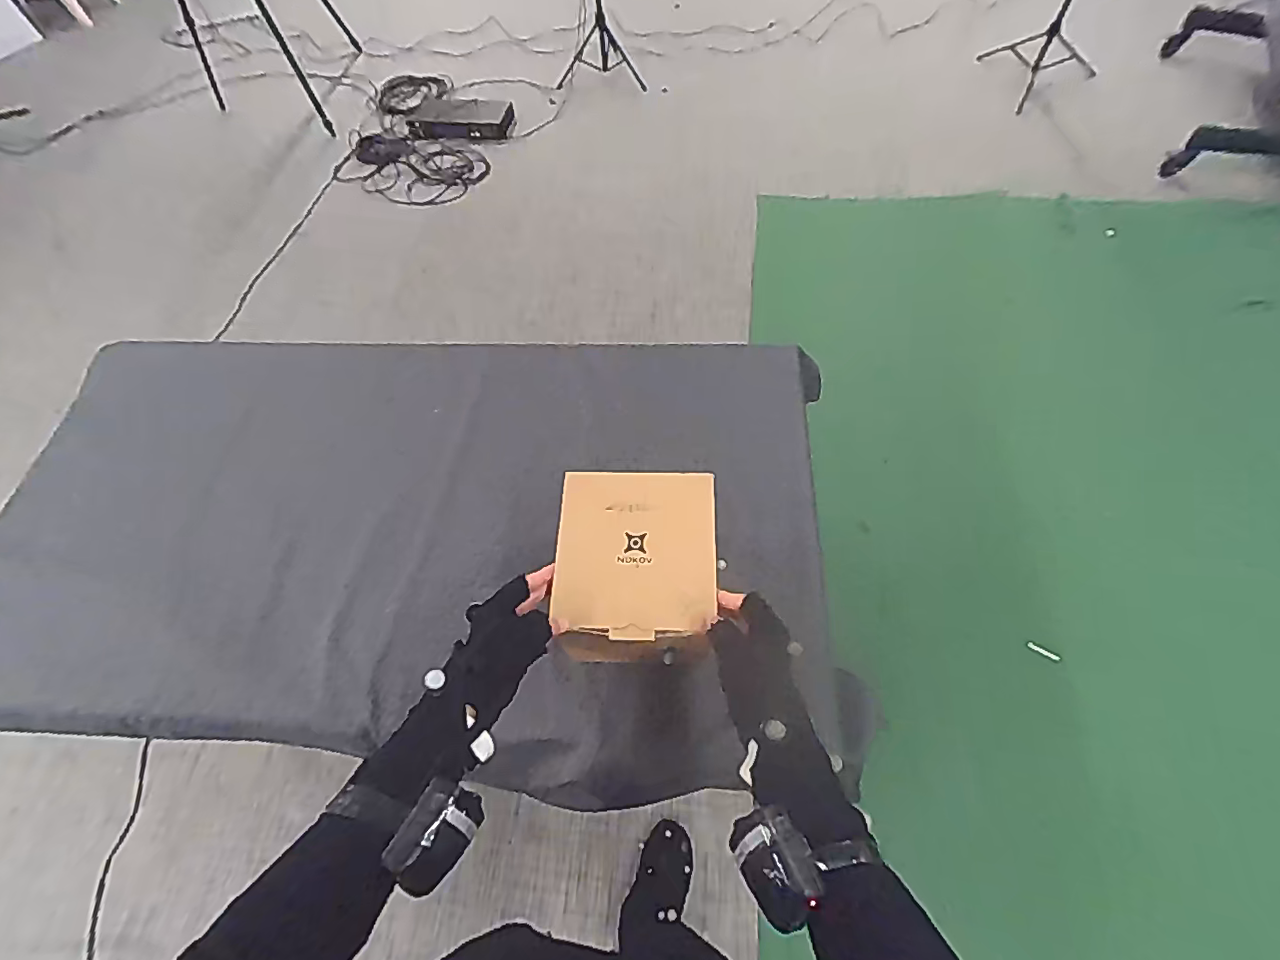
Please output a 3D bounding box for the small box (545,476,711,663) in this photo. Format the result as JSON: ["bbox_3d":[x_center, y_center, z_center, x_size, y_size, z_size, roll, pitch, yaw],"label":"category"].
[{"bbox_3d":[-0.004,0.110,0.629,0.168,0.176,0.179,0,60,3],"label":"small box"}]
